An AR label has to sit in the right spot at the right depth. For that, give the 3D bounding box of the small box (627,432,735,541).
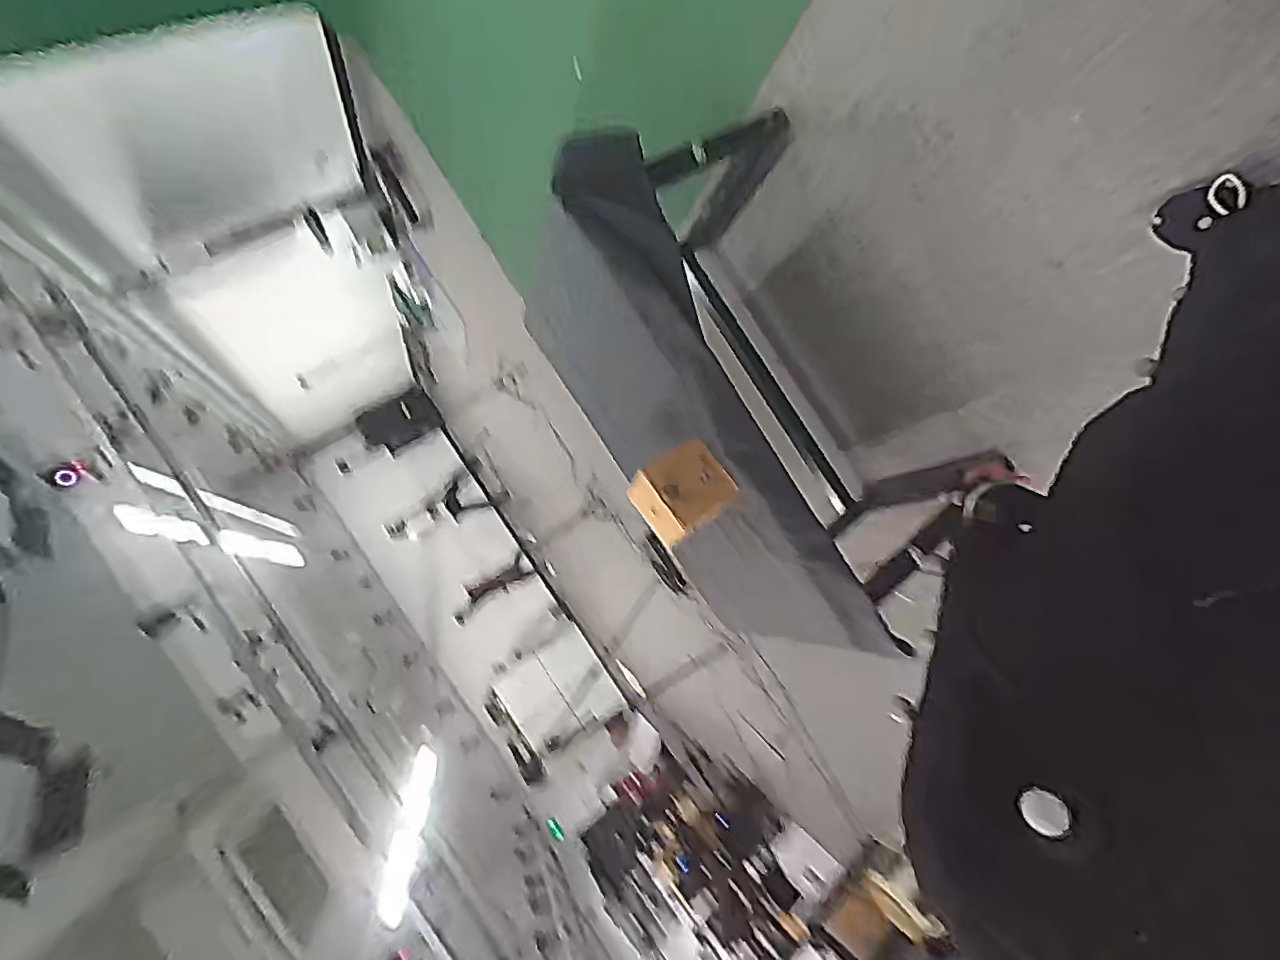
[{"bbox_3d":[0.094,0.017,1.265,0.168,0.176,0.179,53,159,9],"label":"small box"}]
